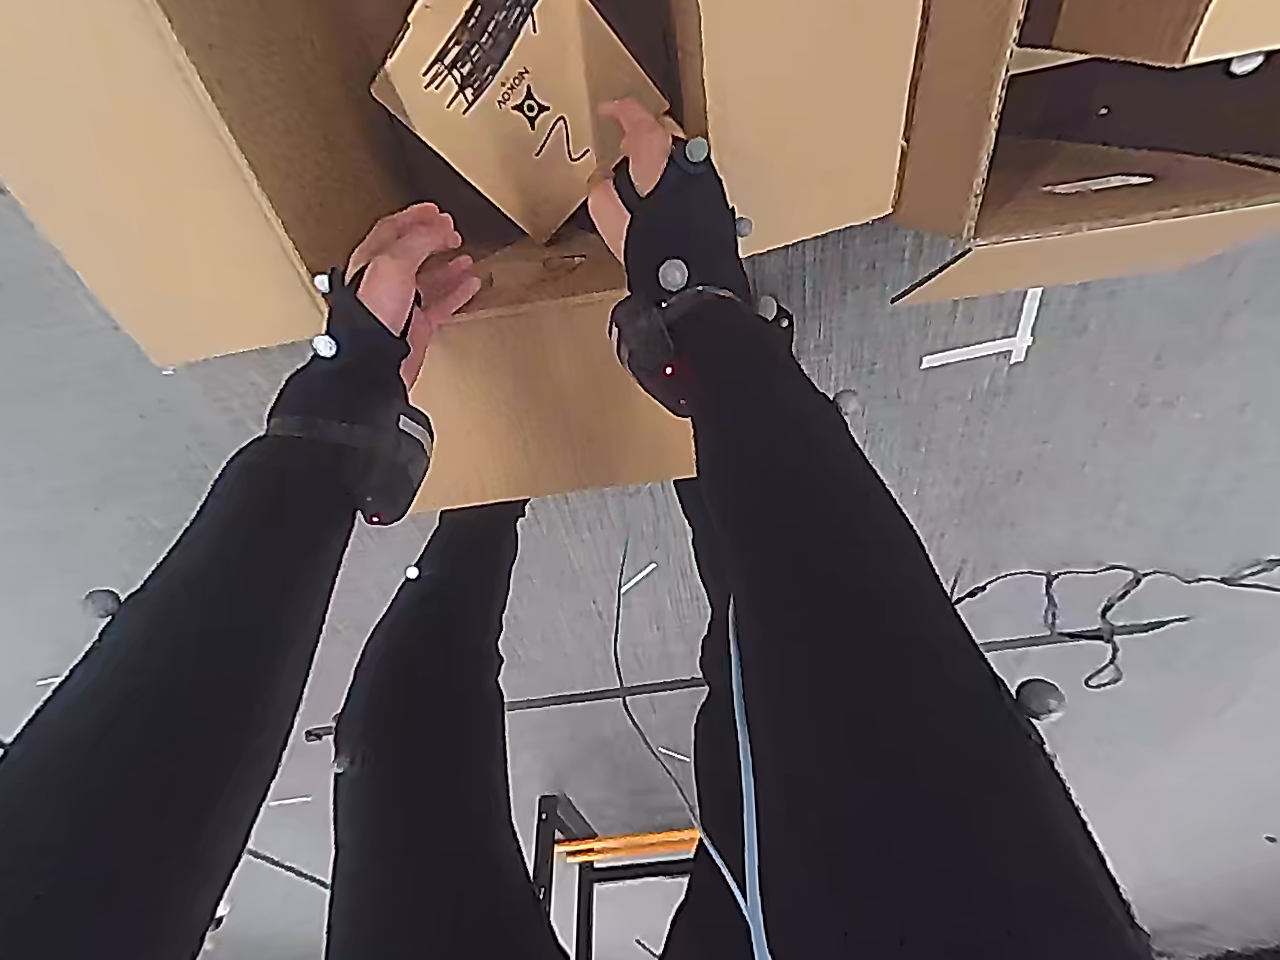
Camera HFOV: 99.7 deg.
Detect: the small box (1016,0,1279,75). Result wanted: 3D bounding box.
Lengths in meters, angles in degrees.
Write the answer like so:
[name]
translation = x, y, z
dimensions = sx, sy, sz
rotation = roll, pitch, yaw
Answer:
[small box]
translation = 0.370, -0.354, 0.305
dimensions = 0.179, 0.176, 0.168
rotation = -8, 133, 3
